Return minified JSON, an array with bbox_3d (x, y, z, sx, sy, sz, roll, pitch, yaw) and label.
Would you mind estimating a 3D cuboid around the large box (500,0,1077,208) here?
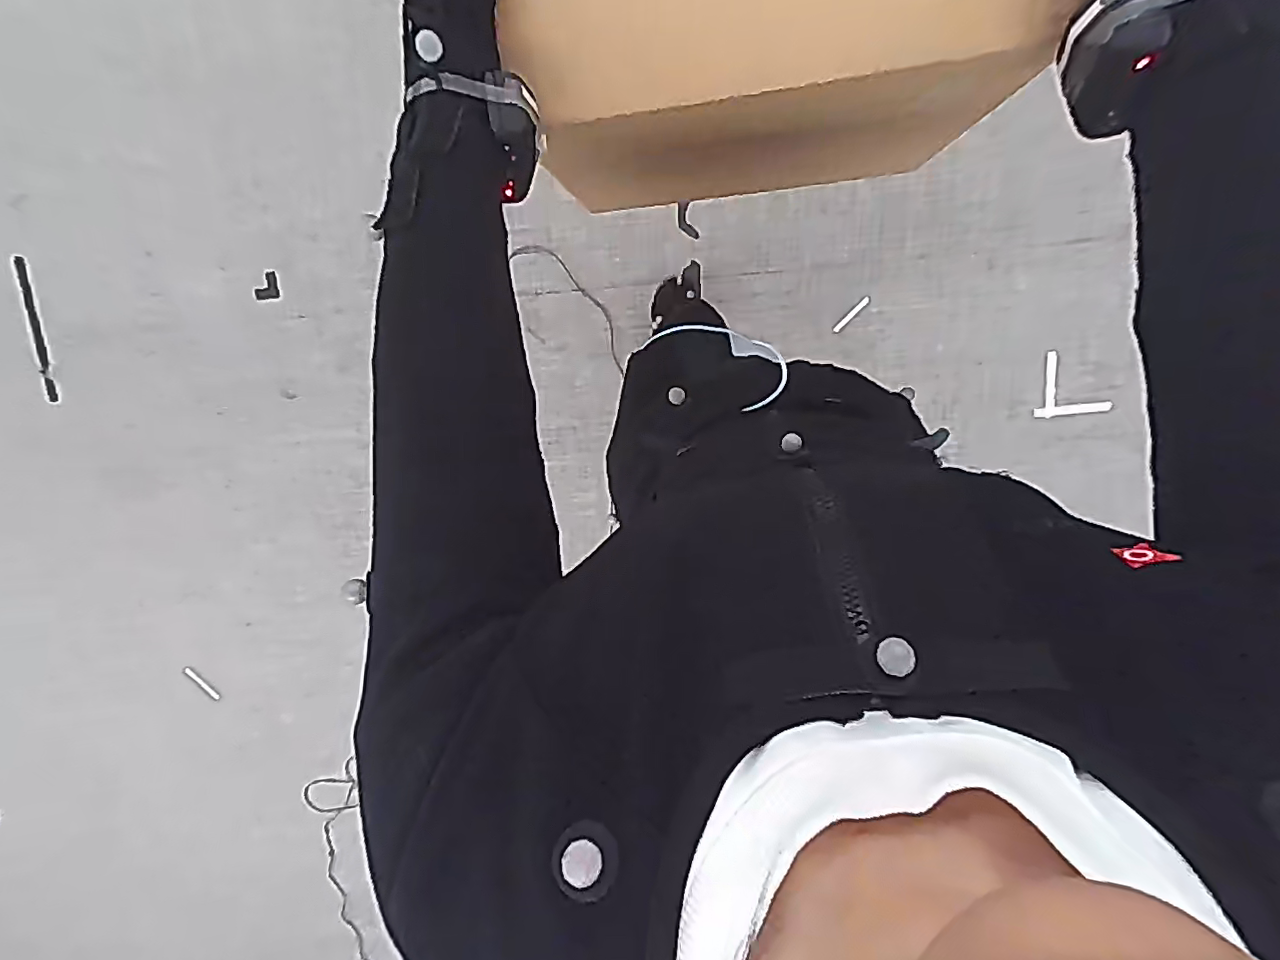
[{"bbox_3d":[0.097,-0.477,0.498,0.408,0.320,0.320,-4,105,7],"label":"large box"}]
